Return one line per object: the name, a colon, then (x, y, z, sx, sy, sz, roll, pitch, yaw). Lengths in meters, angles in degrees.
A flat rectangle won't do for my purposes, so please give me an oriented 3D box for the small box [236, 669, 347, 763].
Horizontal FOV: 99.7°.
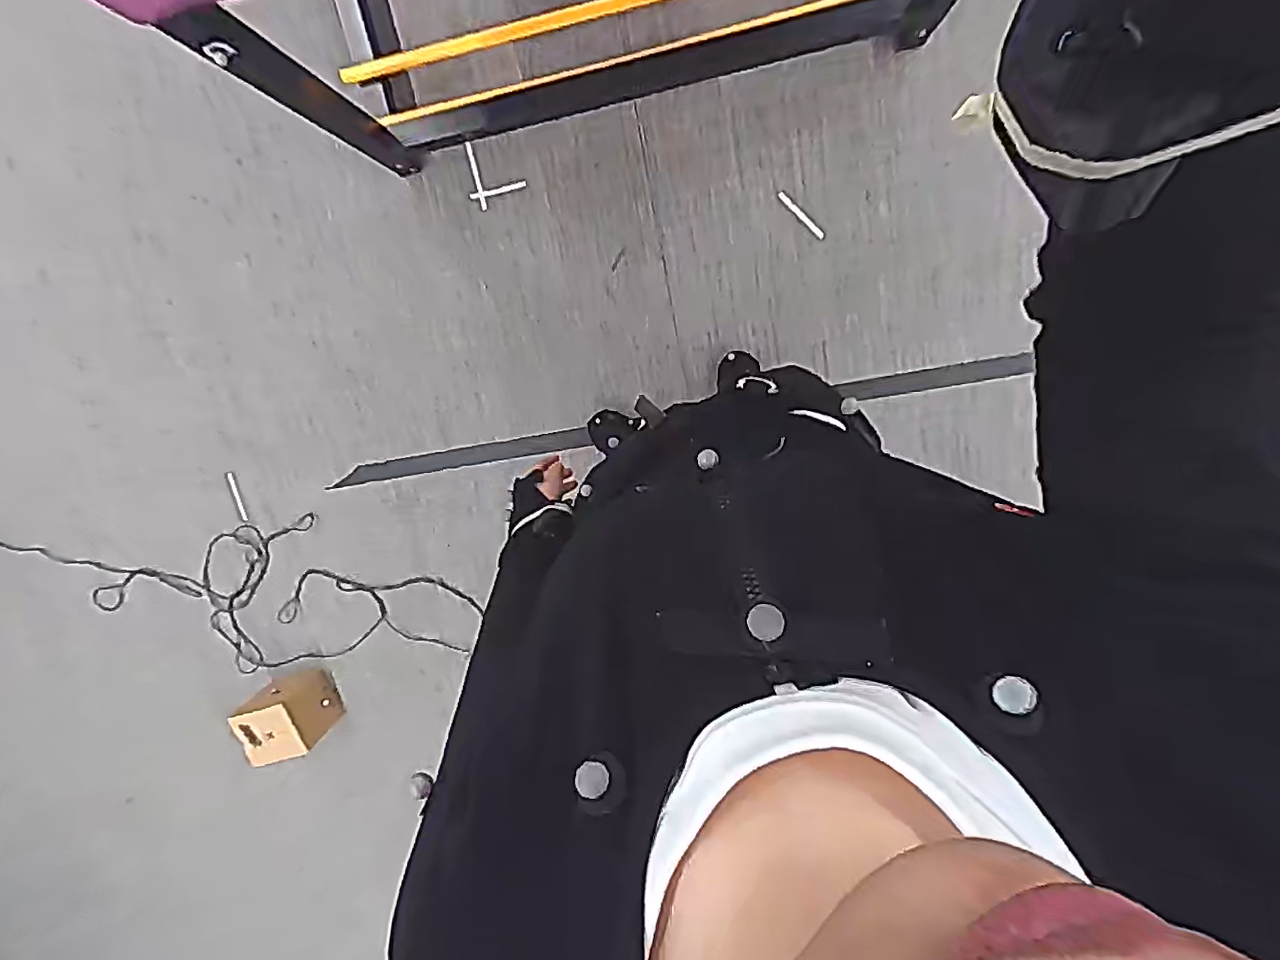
small box: (-0.996, 0.674, 1.558, 0.179, 0.176, 0.168, -17, 103, 8)
